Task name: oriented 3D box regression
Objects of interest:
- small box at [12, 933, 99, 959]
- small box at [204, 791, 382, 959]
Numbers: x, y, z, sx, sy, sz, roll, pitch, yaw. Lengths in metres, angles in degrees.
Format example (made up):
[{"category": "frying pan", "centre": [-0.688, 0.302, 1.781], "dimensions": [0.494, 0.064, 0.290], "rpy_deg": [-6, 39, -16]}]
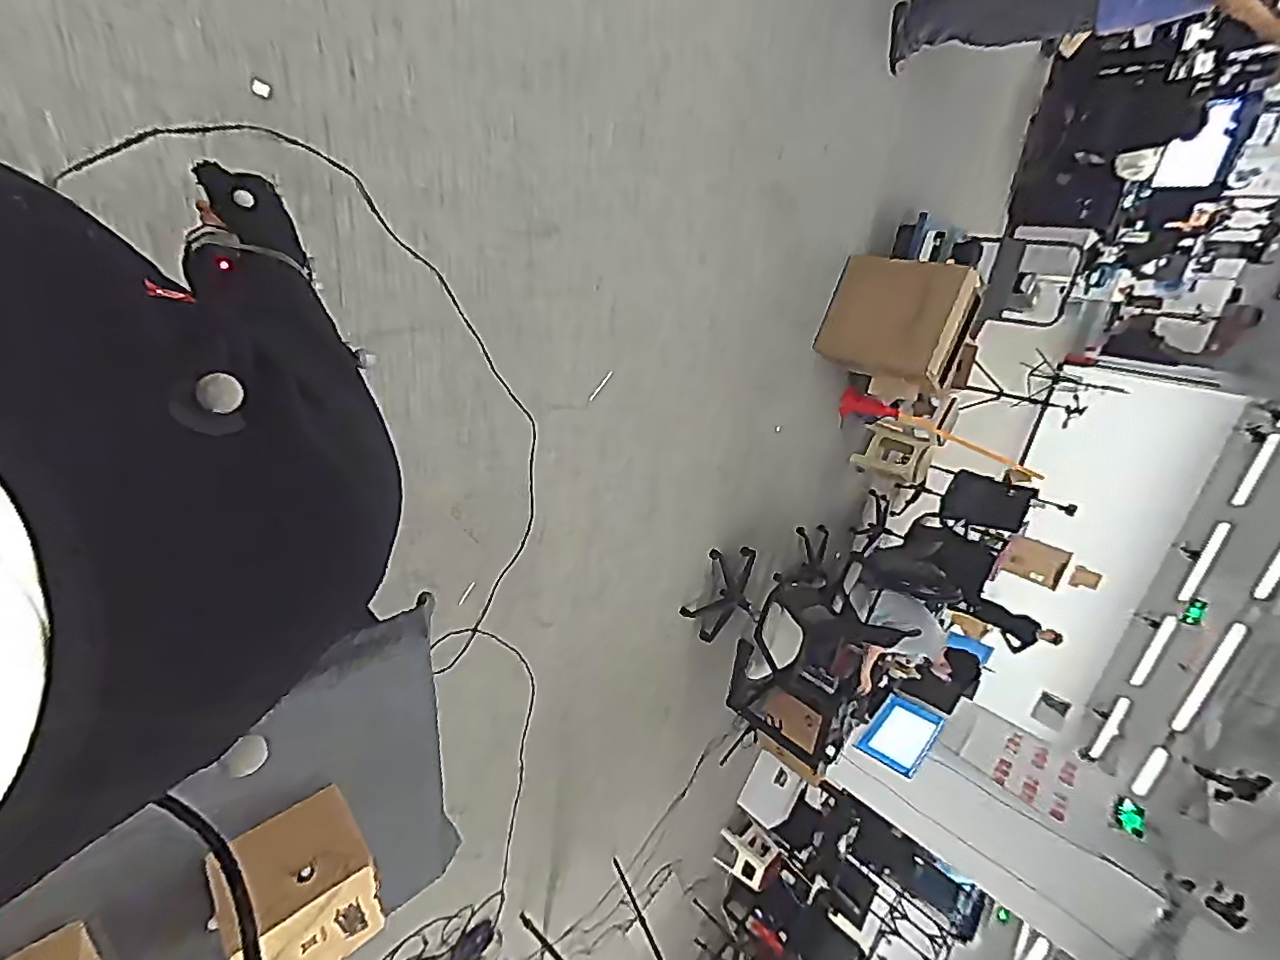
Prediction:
[{"category": "small box", "centre": [-0.724, 0.679, 0.614], "dimensions": [0.168, 0.176, 0.179], "rpy_deg": [-17, 121, -43]}, {"category": "small box", "centre": [-0.518, 0.622, 0.815], "dimensions": [0.179, 0.176, 0.168], "rpy_deg": [-18, 122, -41]}]
